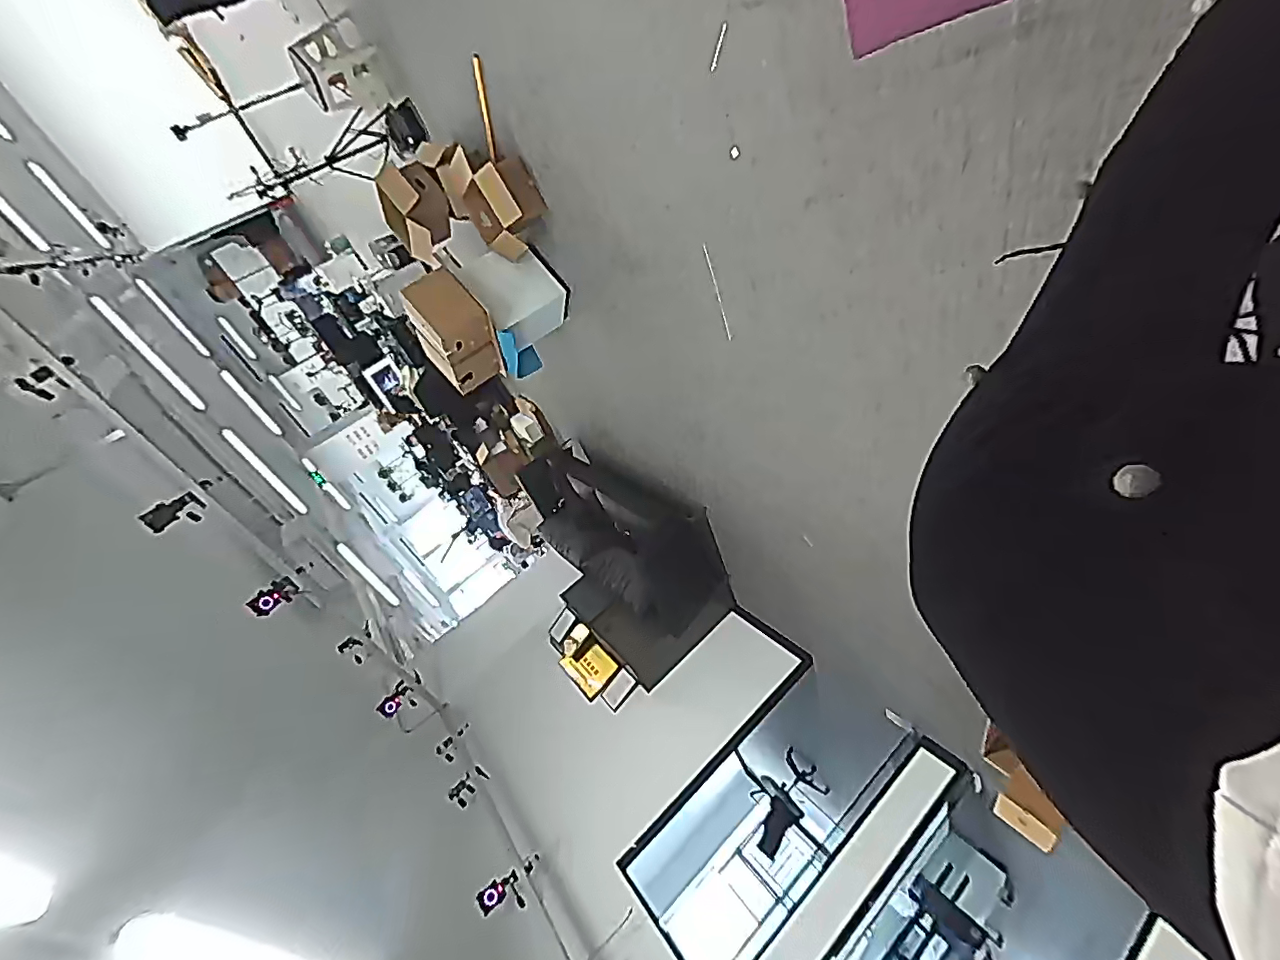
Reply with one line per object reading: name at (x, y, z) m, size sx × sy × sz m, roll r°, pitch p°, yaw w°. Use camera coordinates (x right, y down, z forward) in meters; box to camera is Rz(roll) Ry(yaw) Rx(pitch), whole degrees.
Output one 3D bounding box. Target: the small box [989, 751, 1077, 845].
small box at (1.265, 1.020, 1.741) m, size 0.168 × 0.176 × 0.179 m, roll 32°, pitch 152°, yaw 45°
